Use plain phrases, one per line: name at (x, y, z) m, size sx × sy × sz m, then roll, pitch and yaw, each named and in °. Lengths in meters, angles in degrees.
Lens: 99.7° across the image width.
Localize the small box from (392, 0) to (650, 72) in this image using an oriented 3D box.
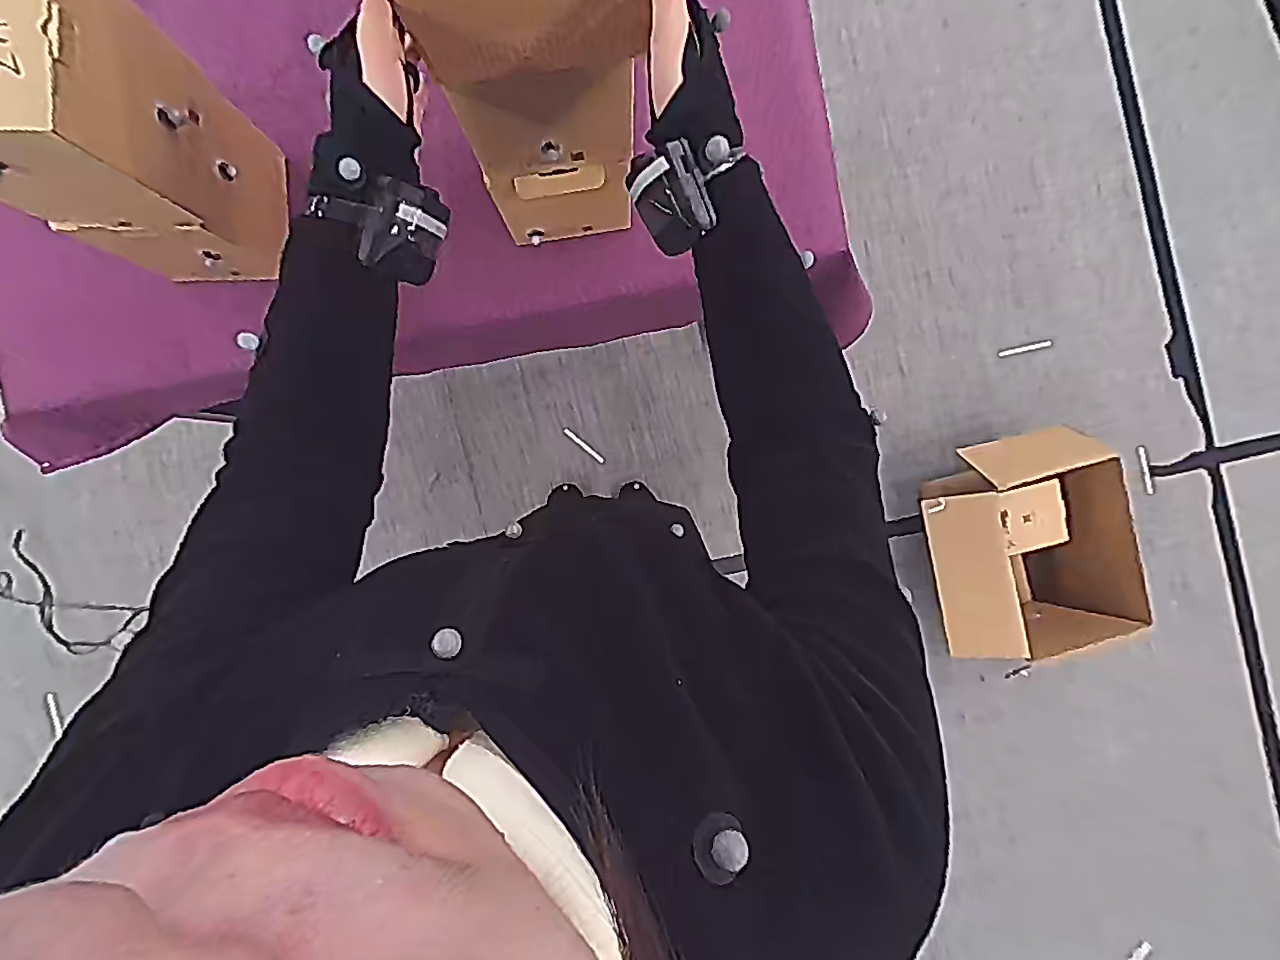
small box at (-0.087, -0.392, 0.331) m, size 0.179 × 0.176 × 0.168 m, roll -8°, pitch 96°, yaw 0°

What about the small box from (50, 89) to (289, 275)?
small box at (-0.567, -0.366, 0.672) m, size 0.168 × 0.176 × 0.179 m, roll -1°, pitch 91°, yaw -2°

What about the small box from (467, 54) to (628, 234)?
small box at (-0.107, -0.430, 0.679) m, size 0.168 × 0.176 × 0.179 m, roll -9°, pitch 91°, yaw -1°

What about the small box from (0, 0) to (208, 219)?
small box at (-0.557, -0.364, 0.508) m, size 0.179 × 0.176 × 0.168 m, roll 0°, pitch 92°, yaw -2°
